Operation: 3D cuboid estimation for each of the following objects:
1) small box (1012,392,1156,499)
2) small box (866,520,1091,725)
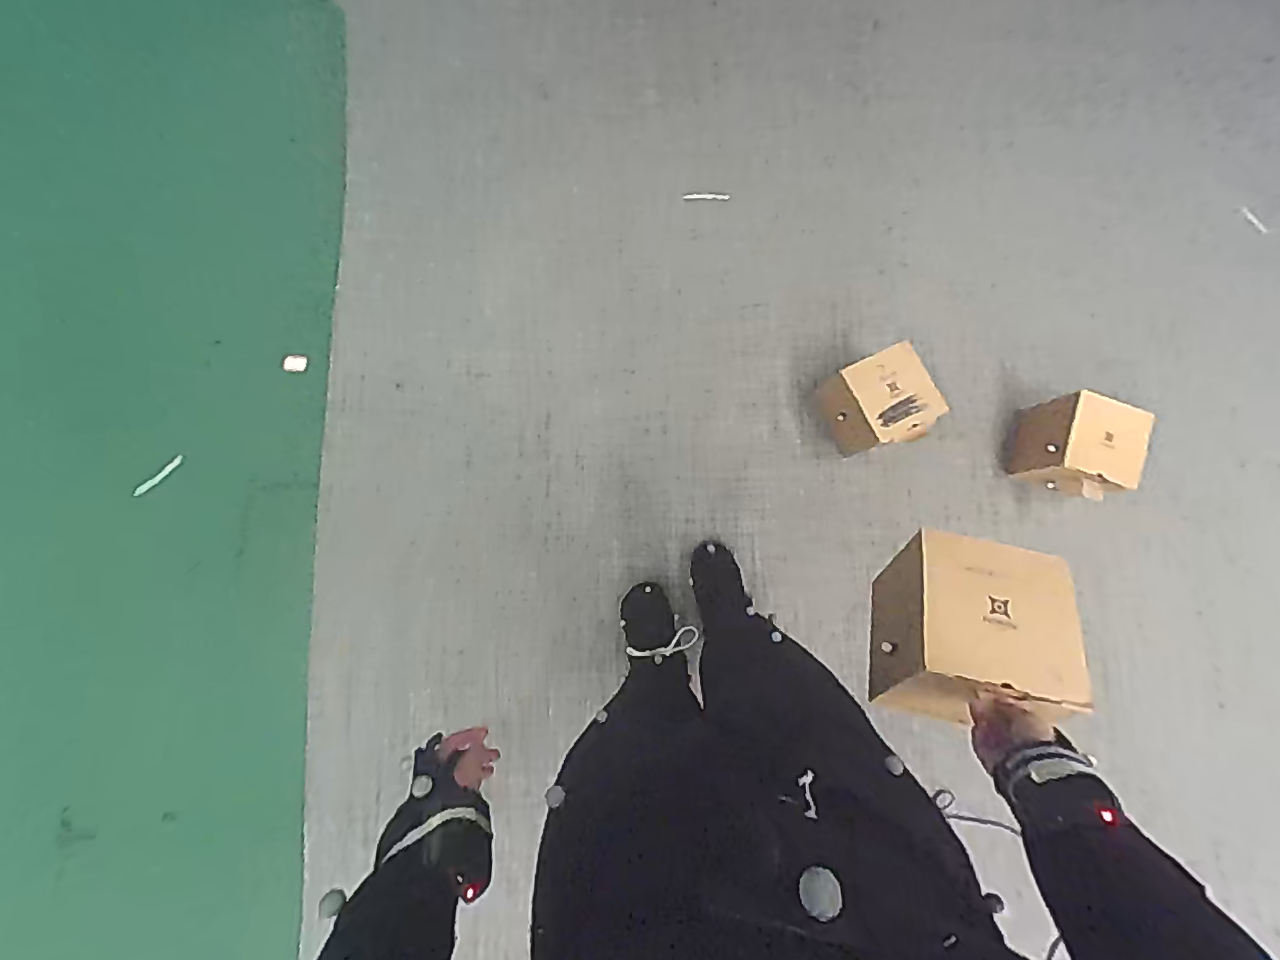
[{"bbox_3d":[0.972,-0.069,1.199,0.168,0.176,0.179,20,83,-1],"label":"small box"},{"bbox_3d":[0.386,0.177,0.652,0.168,0.176,0.179,12,56,7],"label":"small box"}]
